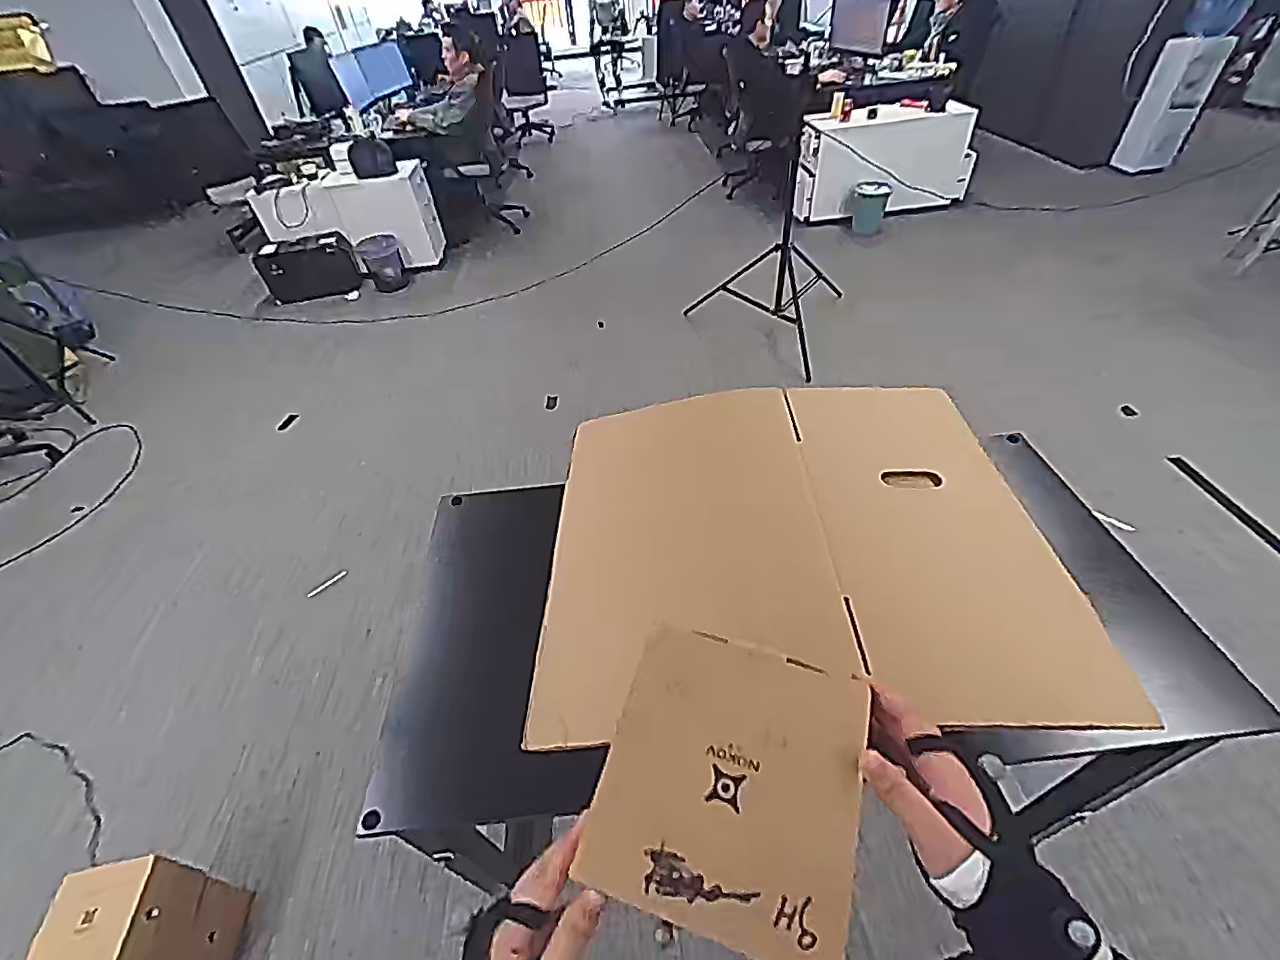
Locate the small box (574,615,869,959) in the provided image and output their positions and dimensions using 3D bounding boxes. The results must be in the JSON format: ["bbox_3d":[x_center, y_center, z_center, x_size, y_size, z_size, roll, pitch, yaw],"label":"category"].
[{"bbox_3d":[0.066,0.238,0.427,0.168,0.176,0.179,13,57,15],"label":"small box"}]

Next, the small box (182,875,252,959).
[{"bbox_3d":[-0.976,0.978,1.153,0.168,0.176,0.179,-9,45,-3],"label":"small box"}]

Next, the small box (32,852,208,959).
[{"bbox_3d":[-0.991,0.858,1.045,0.168,0.176,0.179,-11,43,-6],"label":"small box"}]
